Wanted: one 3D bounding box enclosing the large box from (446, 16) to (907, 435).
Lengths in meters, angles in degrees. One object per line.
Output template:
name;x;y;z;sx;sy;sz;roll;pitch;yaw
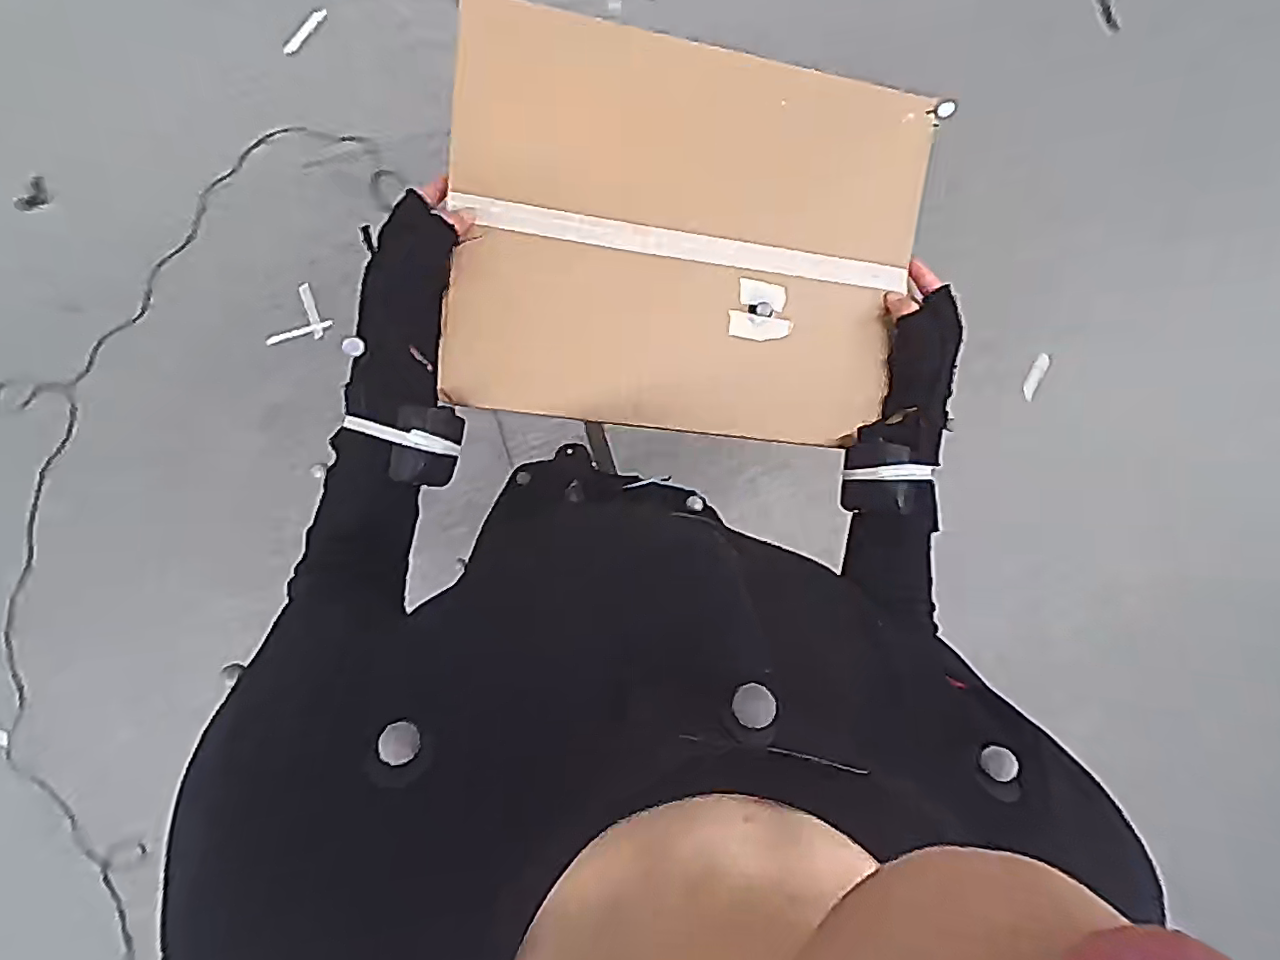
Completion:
large box;0.012;-0.229;0.623;0.408;0.320;0.320;4;100;-10
